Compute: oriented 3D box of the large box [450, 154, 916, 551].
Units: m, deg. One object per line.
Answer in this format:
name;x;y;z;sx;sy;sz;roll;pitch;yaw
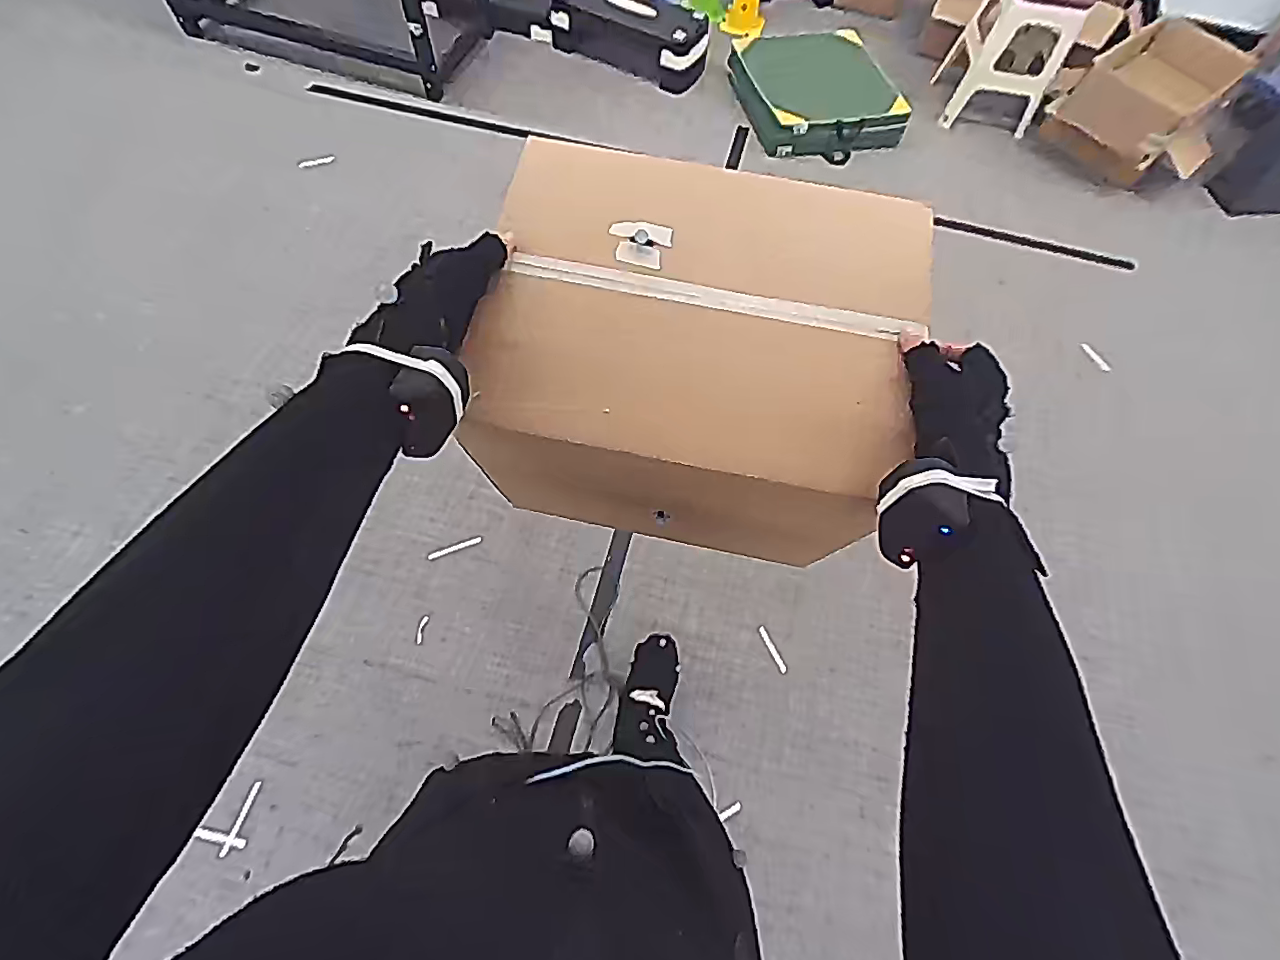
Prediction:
large box;0.057;-0.119;0.649;0.408;0.320;0.320;11;72;4
